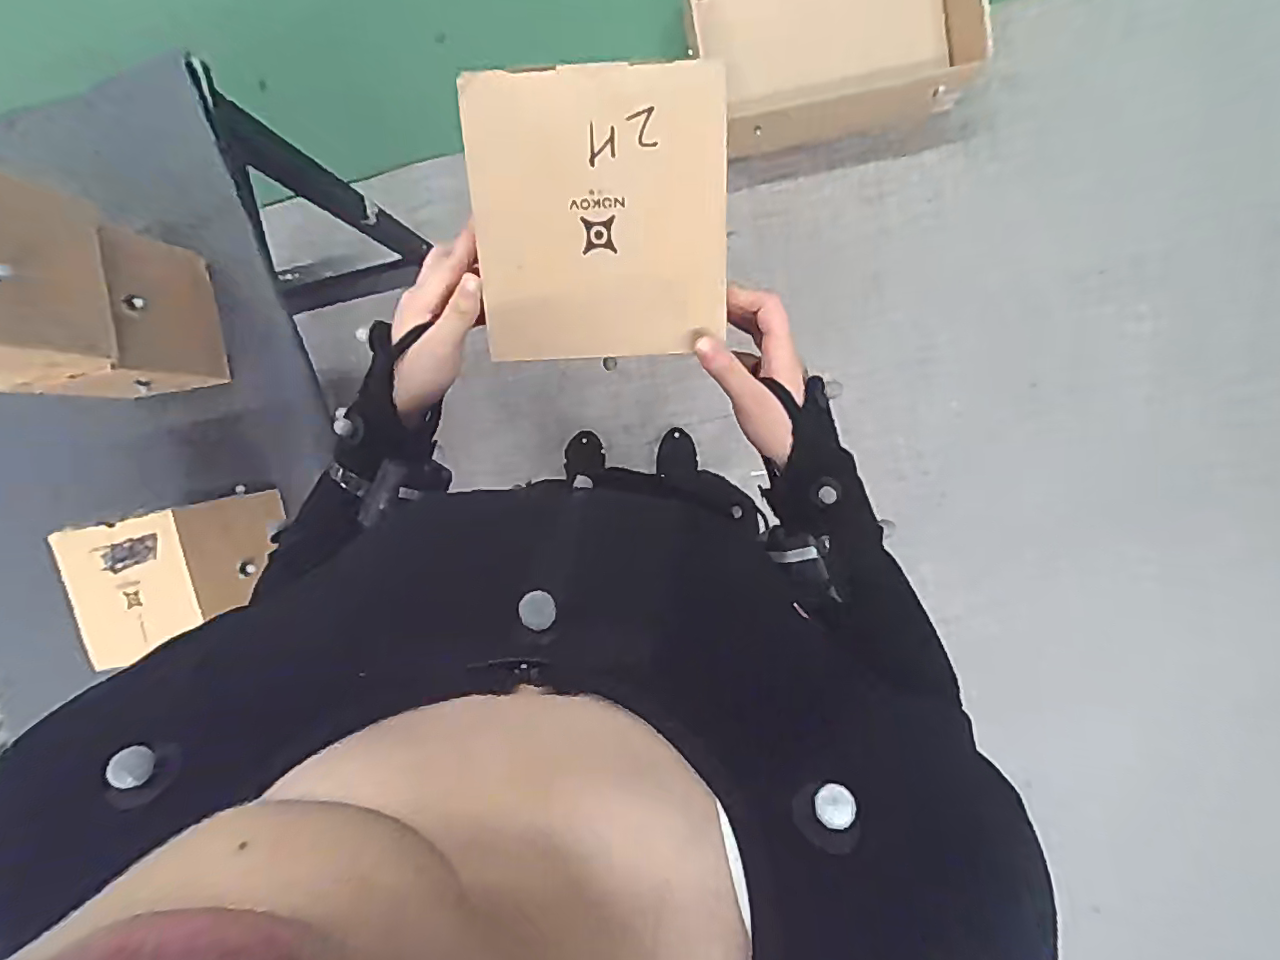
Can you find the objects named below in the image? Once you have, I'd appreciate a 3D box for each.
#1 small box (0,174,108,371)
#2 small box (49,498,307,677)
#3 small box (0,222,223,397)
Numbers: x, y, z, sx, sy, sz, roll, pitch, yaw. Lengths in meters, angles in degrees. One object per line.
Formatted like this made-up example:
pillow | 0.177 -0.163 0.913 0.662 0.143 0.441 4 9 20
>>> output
small box | -0.665 -0.197 0.508 0.168 0.176 0.179 -6 97 4
small box | -0.579 0.125 0.703 0.168 0.176 0.179 -11 97 6
small box | -0.669 -0.201 0.673 0.168 0.176 0.179 -8 95 4
